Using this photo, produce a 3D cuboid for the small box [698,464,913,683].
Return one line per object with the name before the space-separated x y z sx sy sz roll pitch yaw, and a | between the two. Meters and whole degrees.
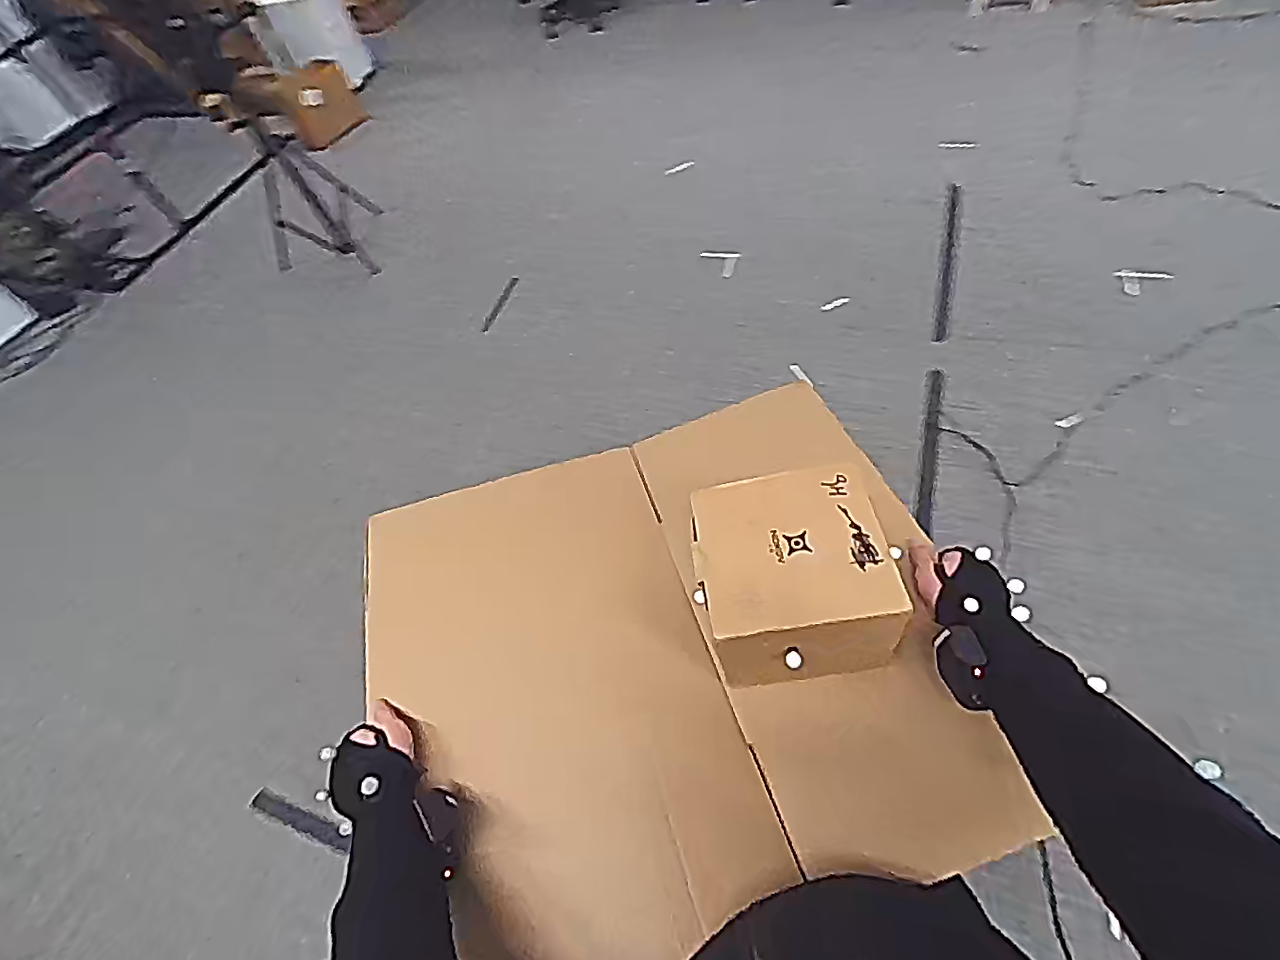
small box | 0.170 0.110 0.590 0.179 0.176 0.168 -11 54 9
